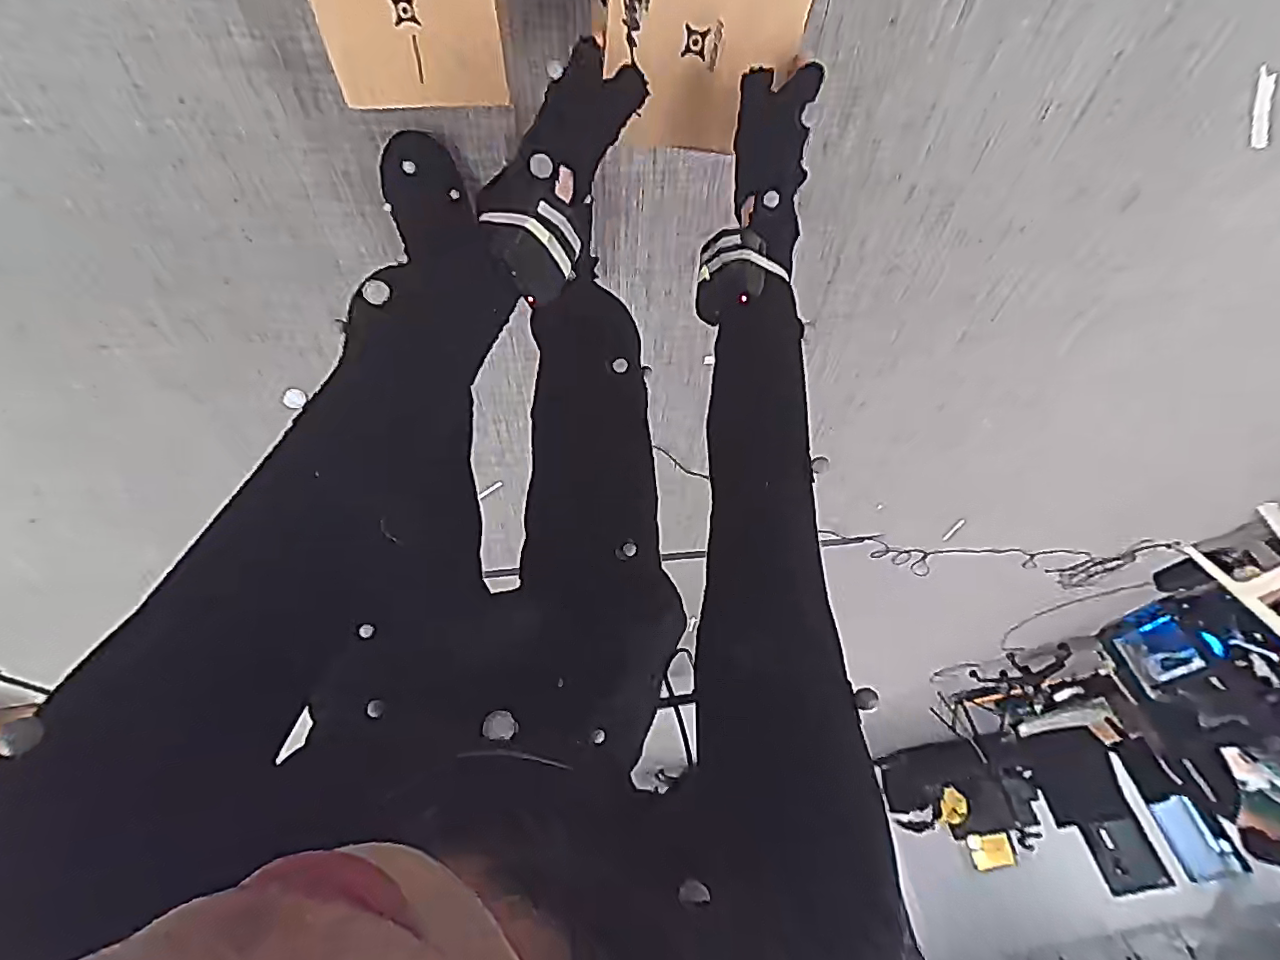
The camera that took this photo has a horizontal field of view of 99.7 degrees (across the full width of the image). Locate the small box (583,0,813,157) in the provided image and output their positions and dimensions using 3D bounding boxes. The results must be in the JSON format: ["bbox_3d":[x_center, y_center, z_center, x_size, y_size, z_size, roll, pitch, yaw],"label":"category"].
[{"bbox_3d":[0.044,-0.441,0.521,0.179,0.176,0.168,0,140,-12],"label":"small box"}]

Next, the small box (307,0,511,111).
[{"bbox_3d":[-0.223,-0.494,0.529,0.168,0.176,0.179,-5,145,-6],"label":"small box"}]
